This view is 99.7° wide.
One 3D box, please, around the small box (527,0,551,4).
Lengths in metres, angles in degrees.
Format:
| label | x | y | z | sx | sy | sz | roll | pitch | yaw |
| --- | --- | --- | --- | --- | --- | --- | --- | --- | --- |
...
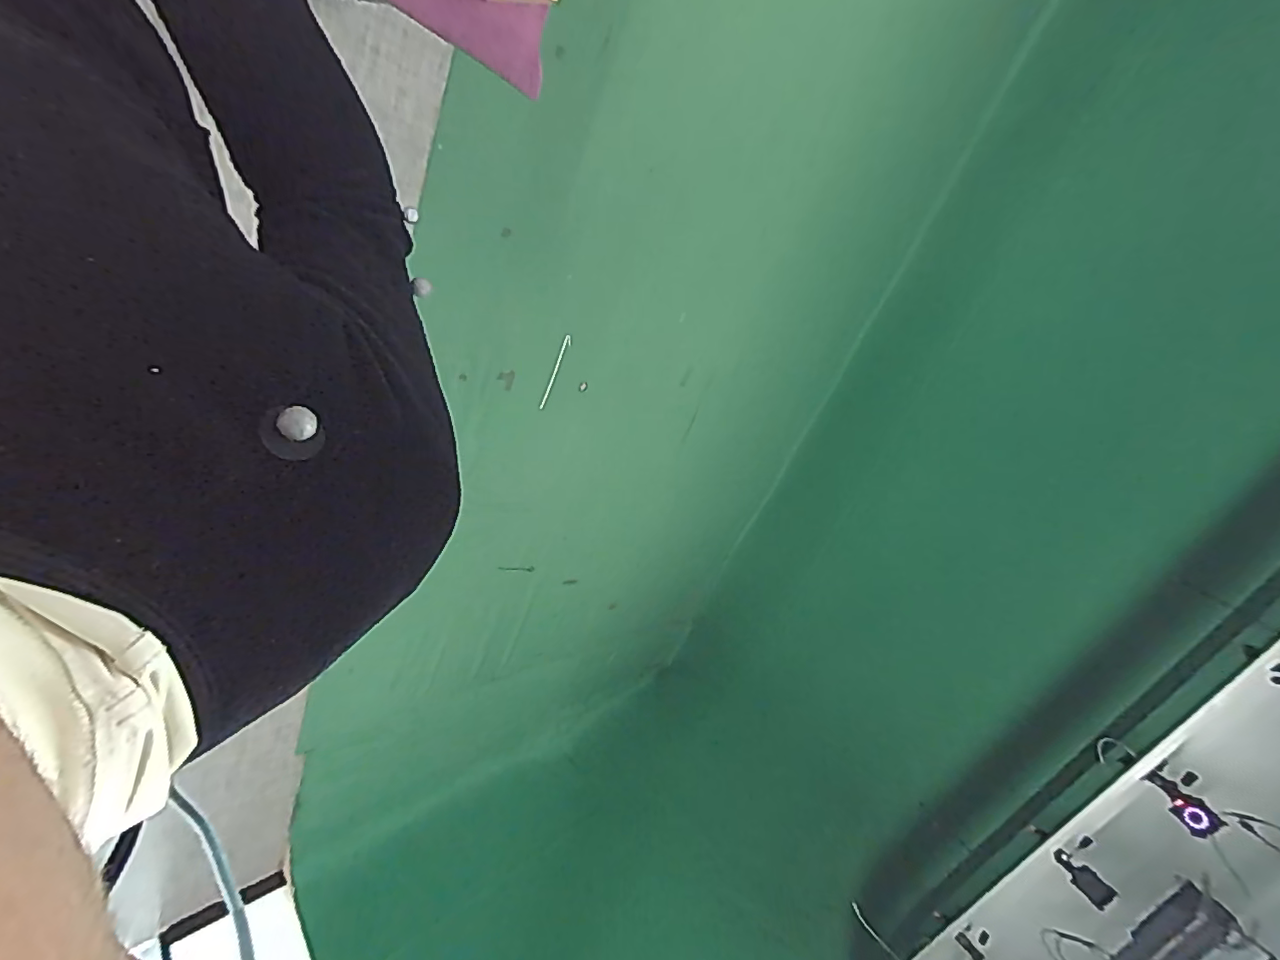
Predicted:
| label | x | y | z | sx | sy | sz | roll | pitch | yaw |
| --- | --- | --- | --- | --- | --- | --- | --- | --- | --- |
| small box | -0.181 | -0.674 | 0.591 | 0.179 | 0.176 | 0.168 | 0 | 121 | -50 |
